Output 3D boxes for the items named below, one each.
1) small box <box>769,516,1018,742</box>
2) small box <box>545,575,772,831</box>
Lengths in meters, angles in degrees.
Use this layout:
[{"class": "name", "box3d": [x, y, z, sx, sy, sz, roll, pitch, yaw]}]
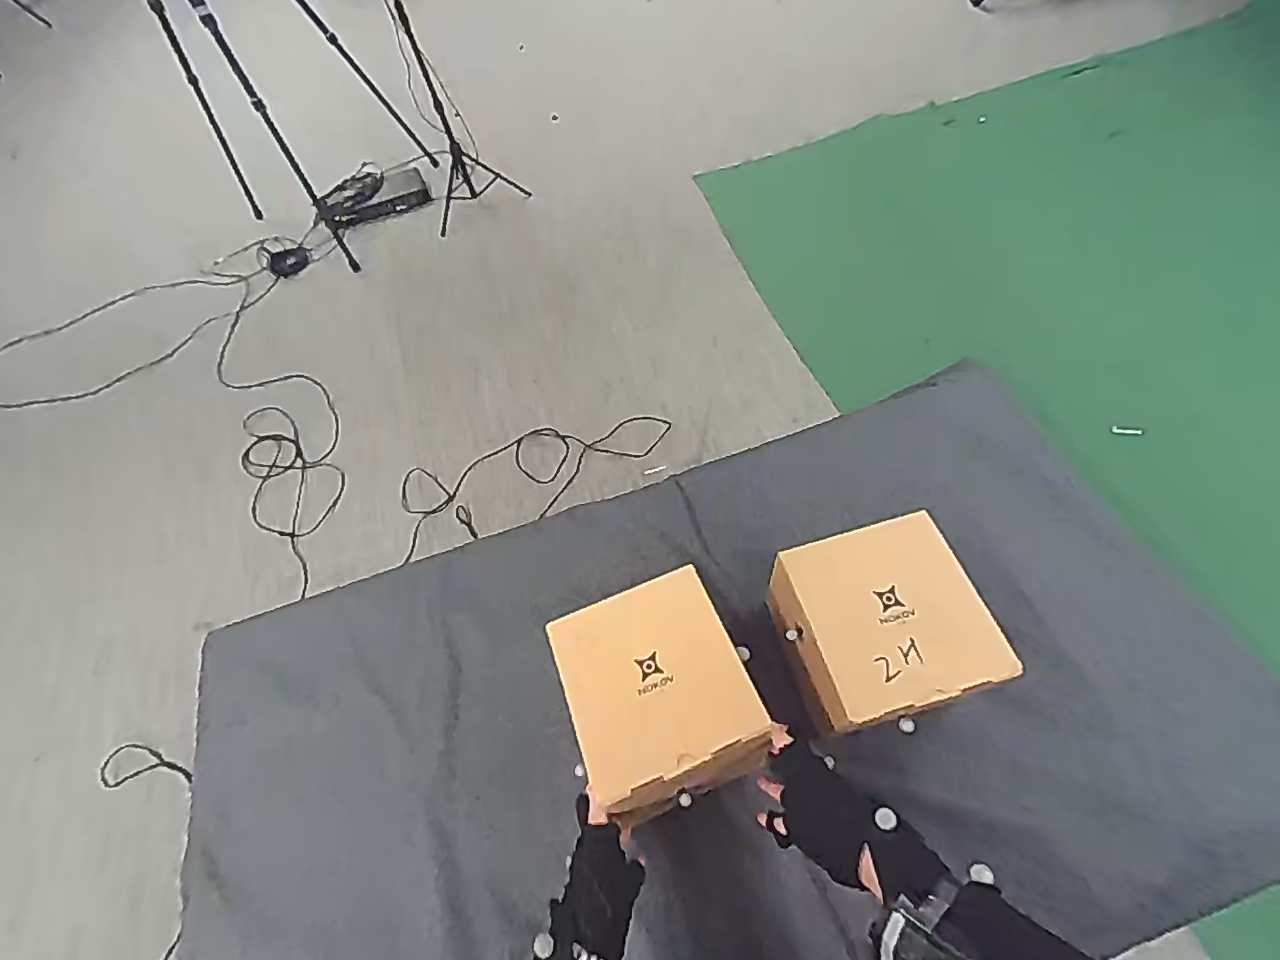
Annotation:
[{"class": "small box", "box3d": [0.251, 0.169, 0.594, 0.168, 0.176, 0.179, -16, 59, -1]}, {"class": "small box", "box3d": [0.018, 0.235, 0.565, 0.168, 0.176, 0.179, -22, 53, -8]}]
